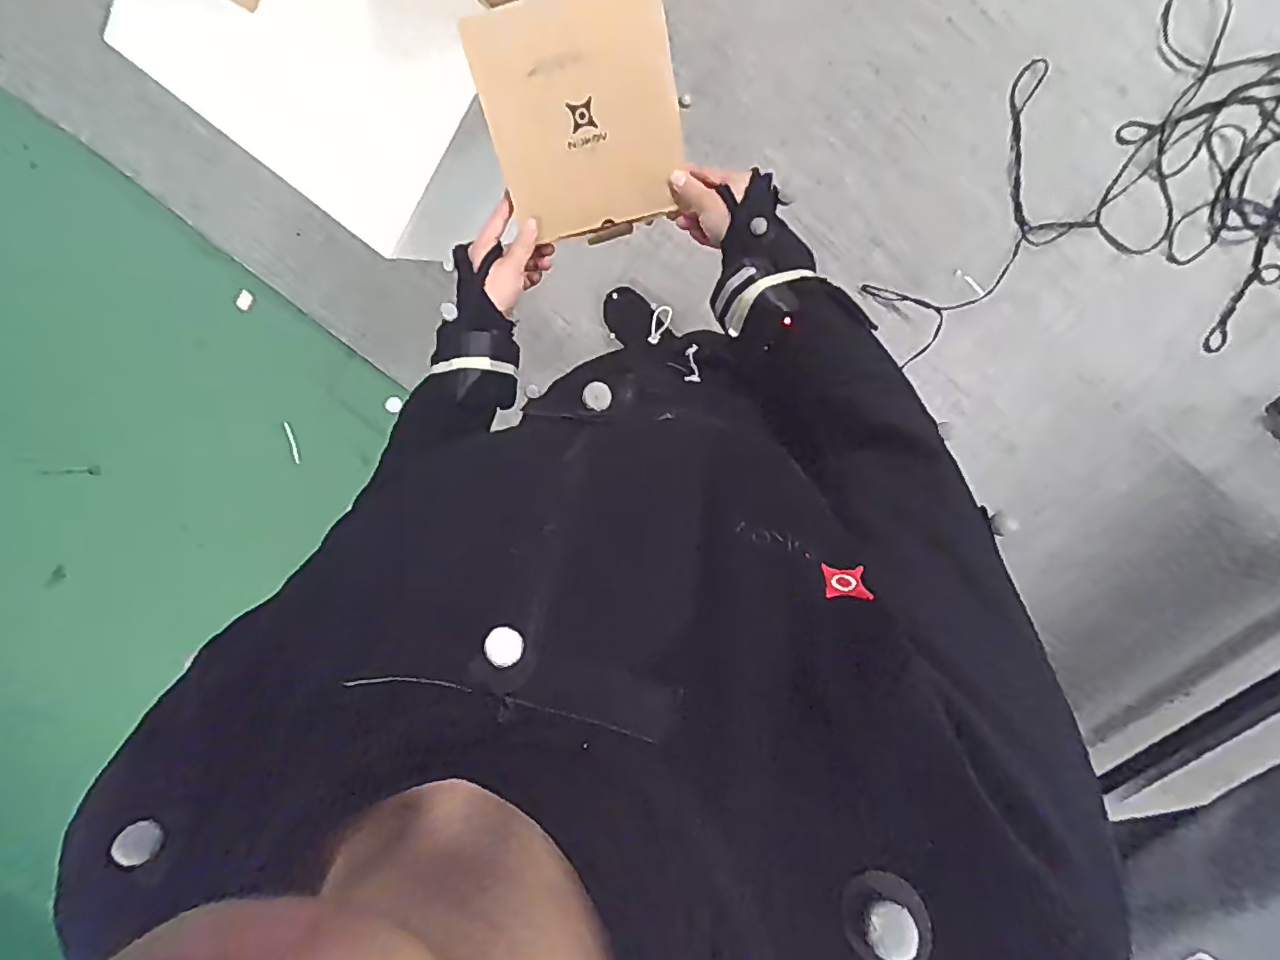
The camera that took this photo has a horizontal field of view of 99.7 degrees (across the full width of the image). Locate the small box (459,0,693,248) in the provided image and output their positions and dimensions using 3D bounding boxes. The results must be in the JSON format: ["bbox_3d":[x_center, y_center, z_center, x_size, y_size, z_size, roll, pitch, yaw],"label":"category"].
[{"bbox_3d":[-0.045,-0.349,0.527,0.168,0.176,0.179,-10,122,7],"label":"small box"}]
